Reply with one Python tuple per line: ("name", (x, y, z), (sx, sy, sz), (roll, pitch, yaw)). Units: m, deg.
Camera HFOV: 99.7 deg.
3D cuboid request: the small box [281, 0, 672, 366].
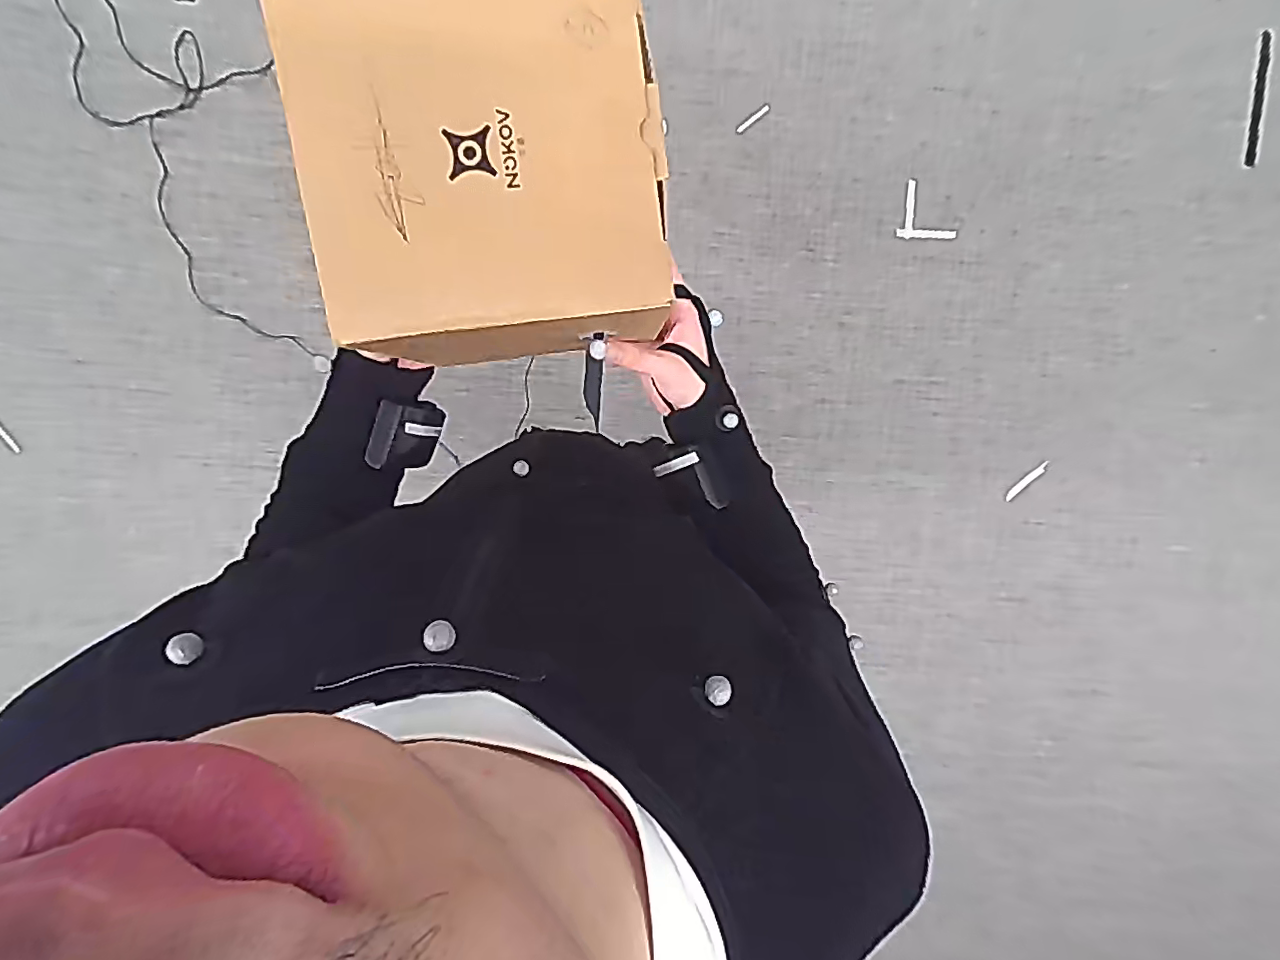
("small box", (-0.082, -0.171, 0.353), (0.179, 0.176, 0.168), (-8, 97, -1))
